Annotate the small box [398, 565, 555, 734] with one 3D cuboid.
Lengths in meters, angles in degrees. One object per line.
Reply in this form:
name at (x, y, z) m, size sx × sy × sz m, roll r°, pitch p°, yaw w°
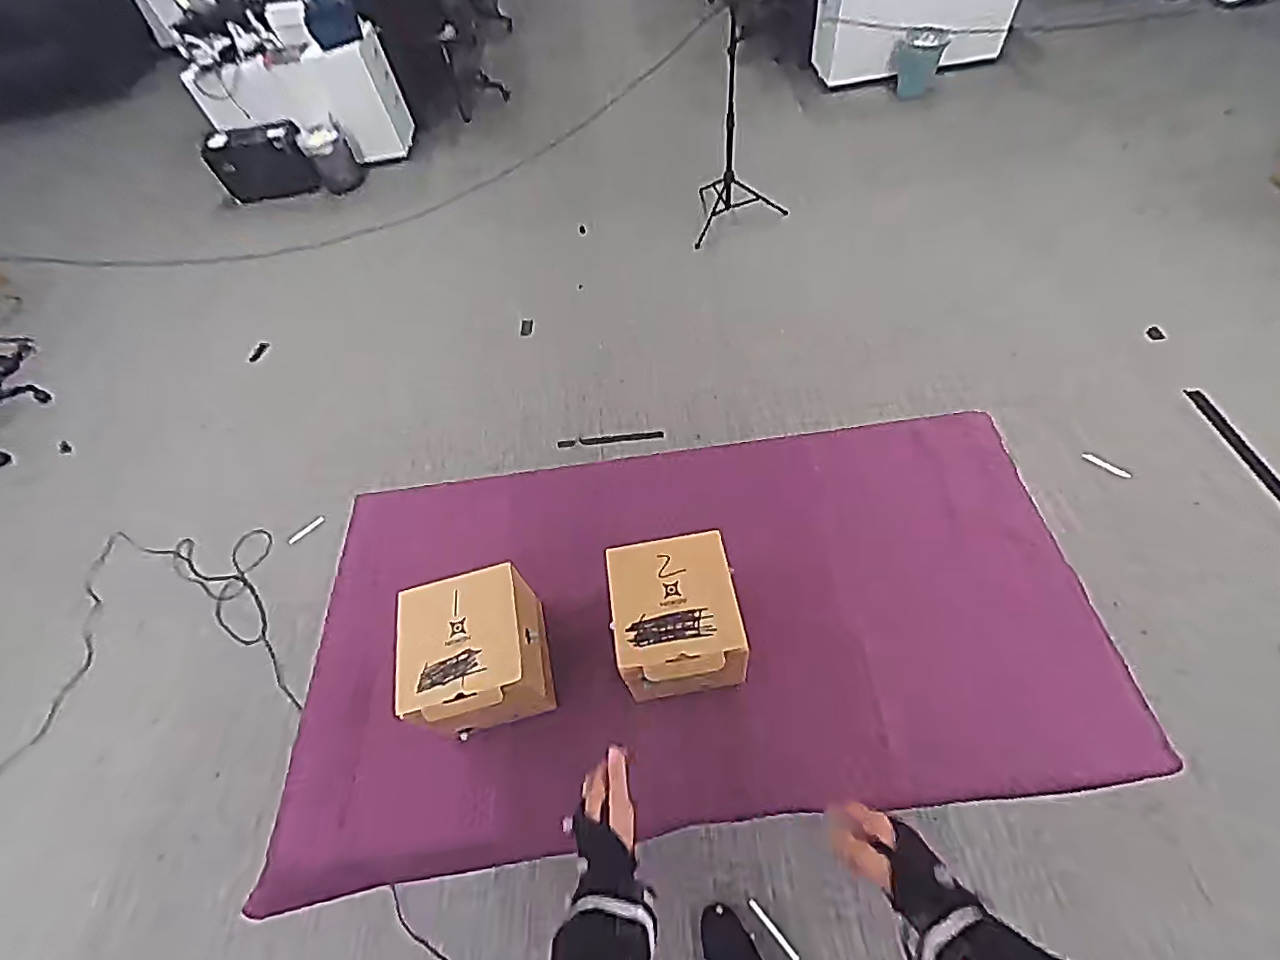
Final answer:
small box at (-0.230, 0.253, 0.783) m, size 0.168 × 0.176 × 0.179 m, roll -15°, pitch 55°, yaw -3°
